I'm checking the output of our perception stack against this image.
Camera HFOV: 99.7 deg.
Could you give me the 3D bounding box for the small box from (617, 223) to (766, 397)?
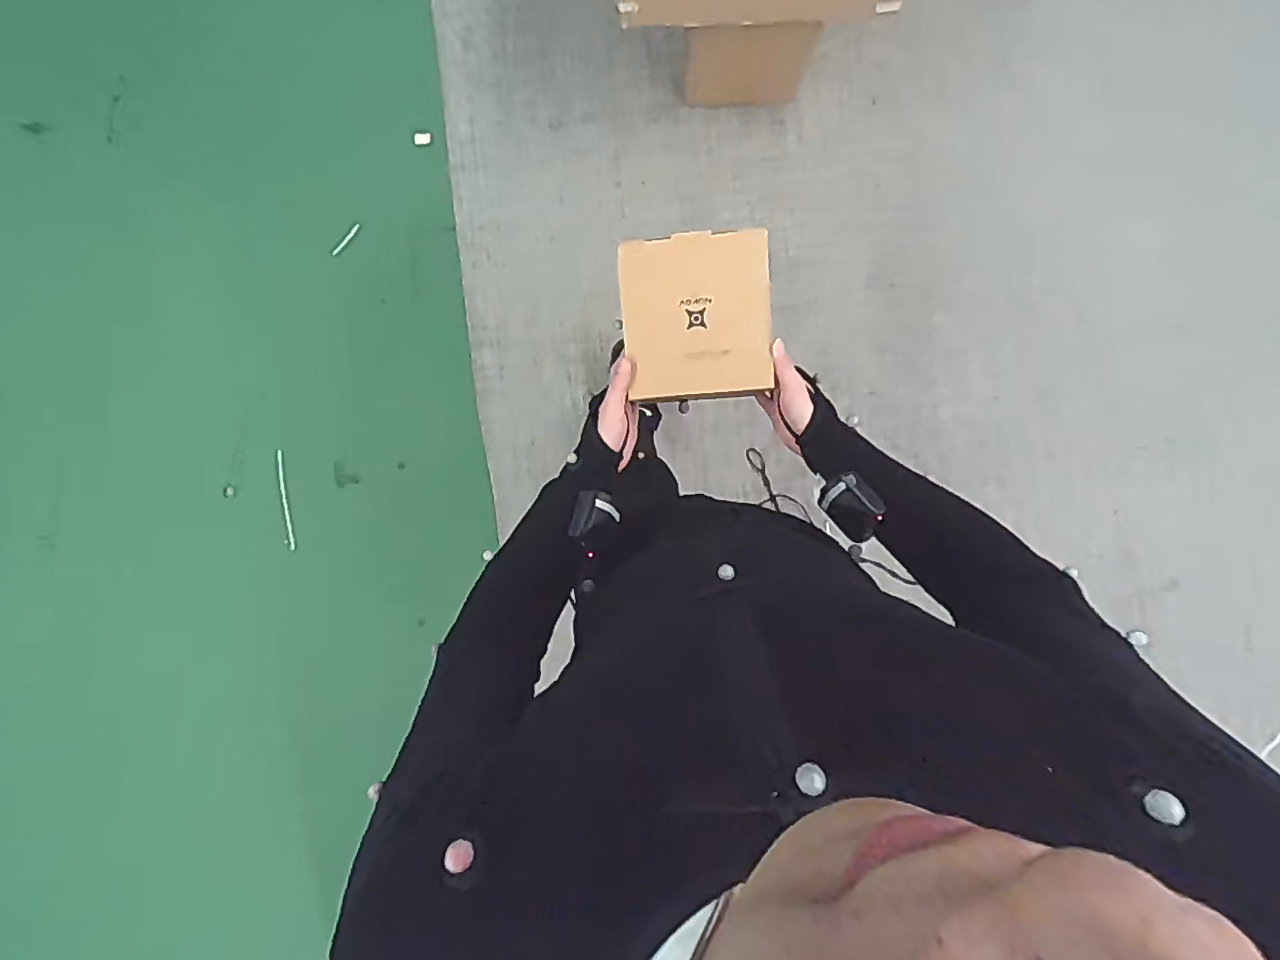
[{"bbox_3d":[0.064,-0.201,0.685,0.168,0.176,0.179,-2,96,6],"label":"small box"}]
